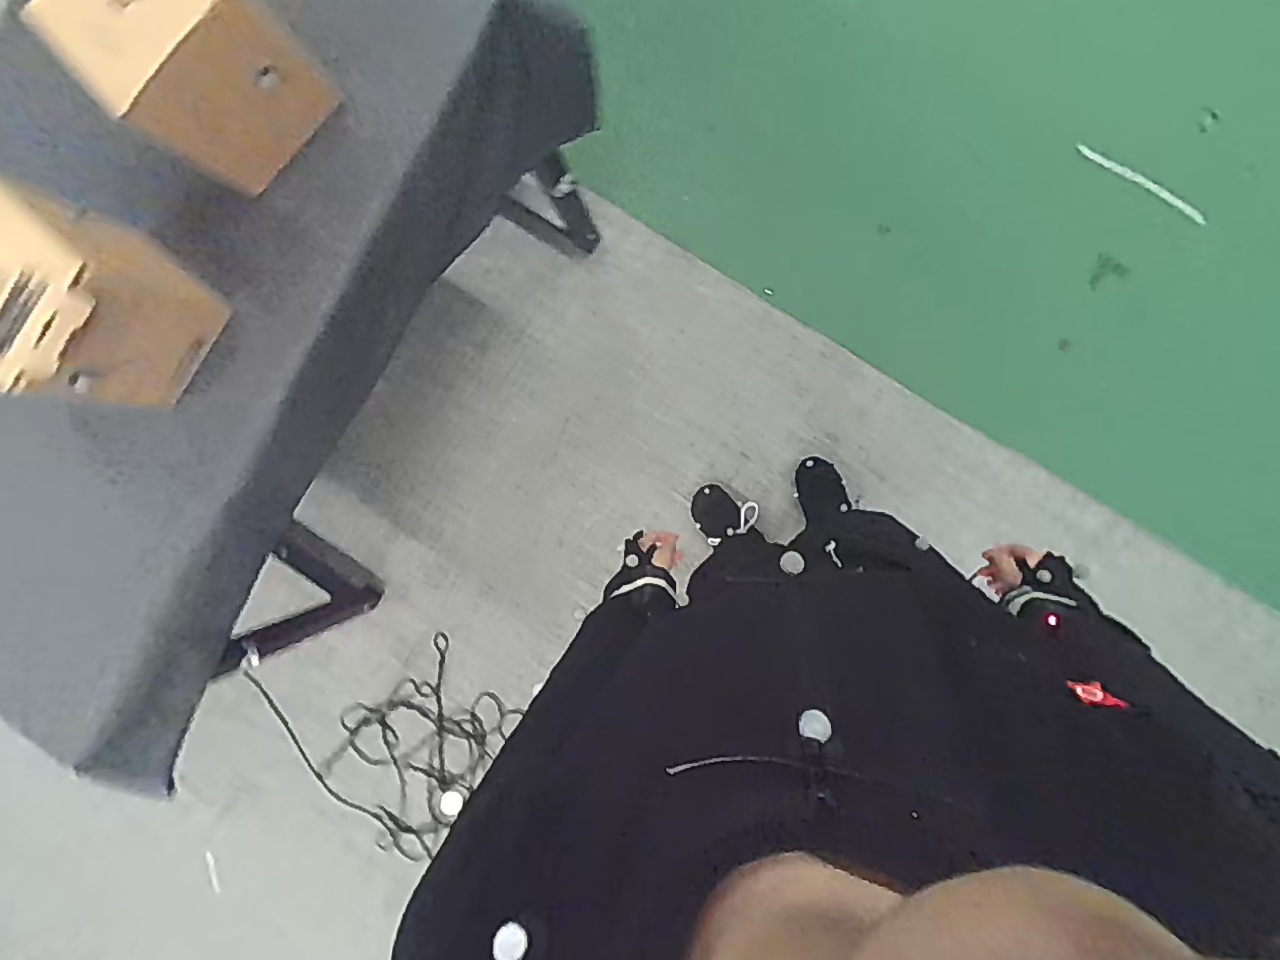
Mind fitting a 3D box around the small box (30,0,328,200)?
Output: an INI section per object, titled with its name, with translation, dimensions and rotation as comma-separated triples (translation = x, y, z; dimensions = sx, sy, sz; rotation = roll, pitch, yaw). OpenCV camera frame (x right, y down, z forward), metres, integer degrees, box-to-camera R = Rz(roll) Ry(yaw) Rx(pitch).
[small box]
translation = -0.502, -0.473, 0.620
dimensions = 0.179, 0.176, 0.168
rotation = -44, 85, 8
